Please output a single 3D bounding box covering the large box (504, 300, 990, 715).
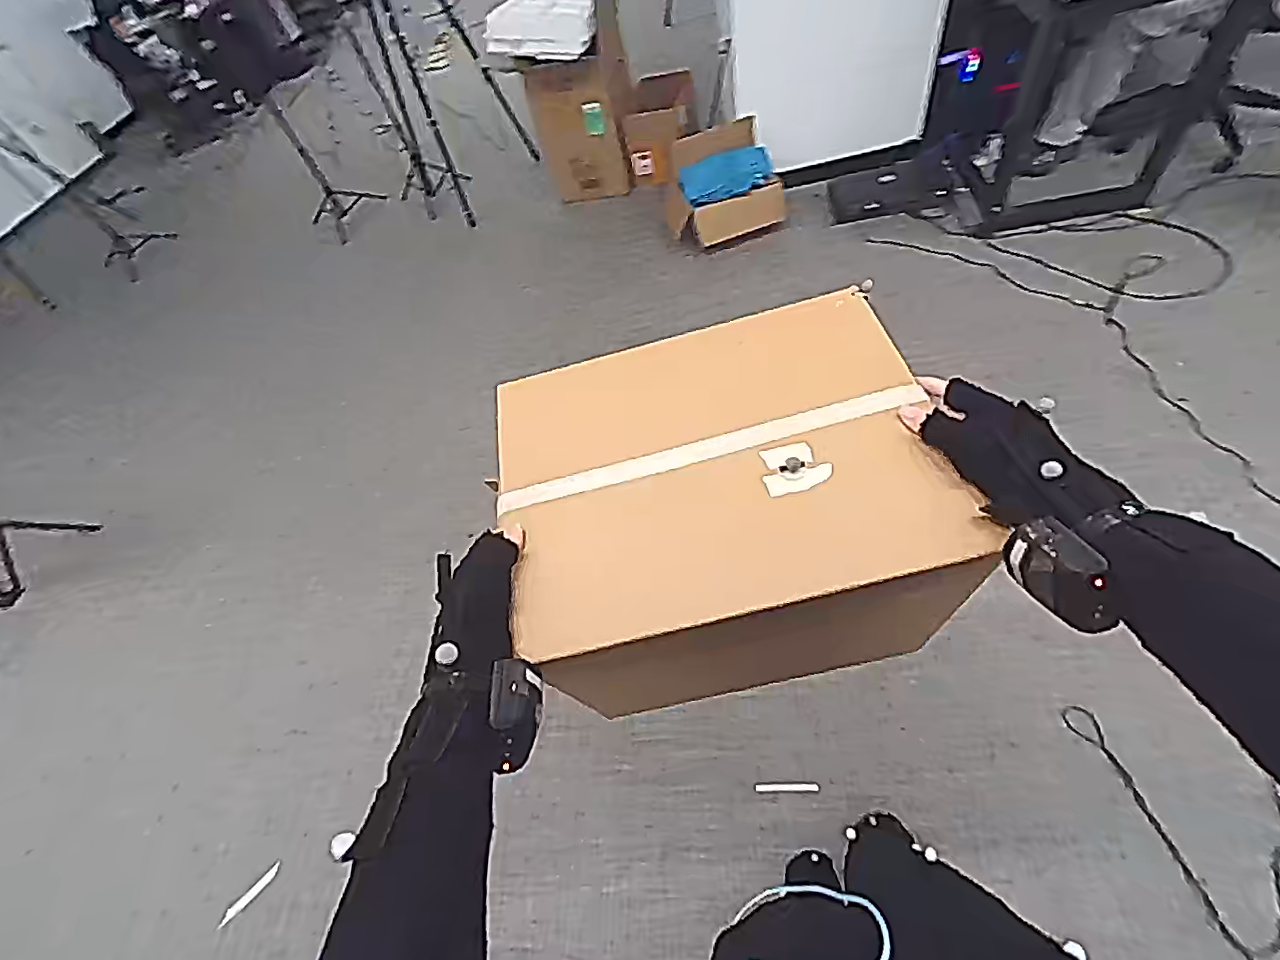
[{"bbox_3d":[0.091,0.053,0.648,0.408,0.320,0.320,-15,58,3],"label":"large box"}]
